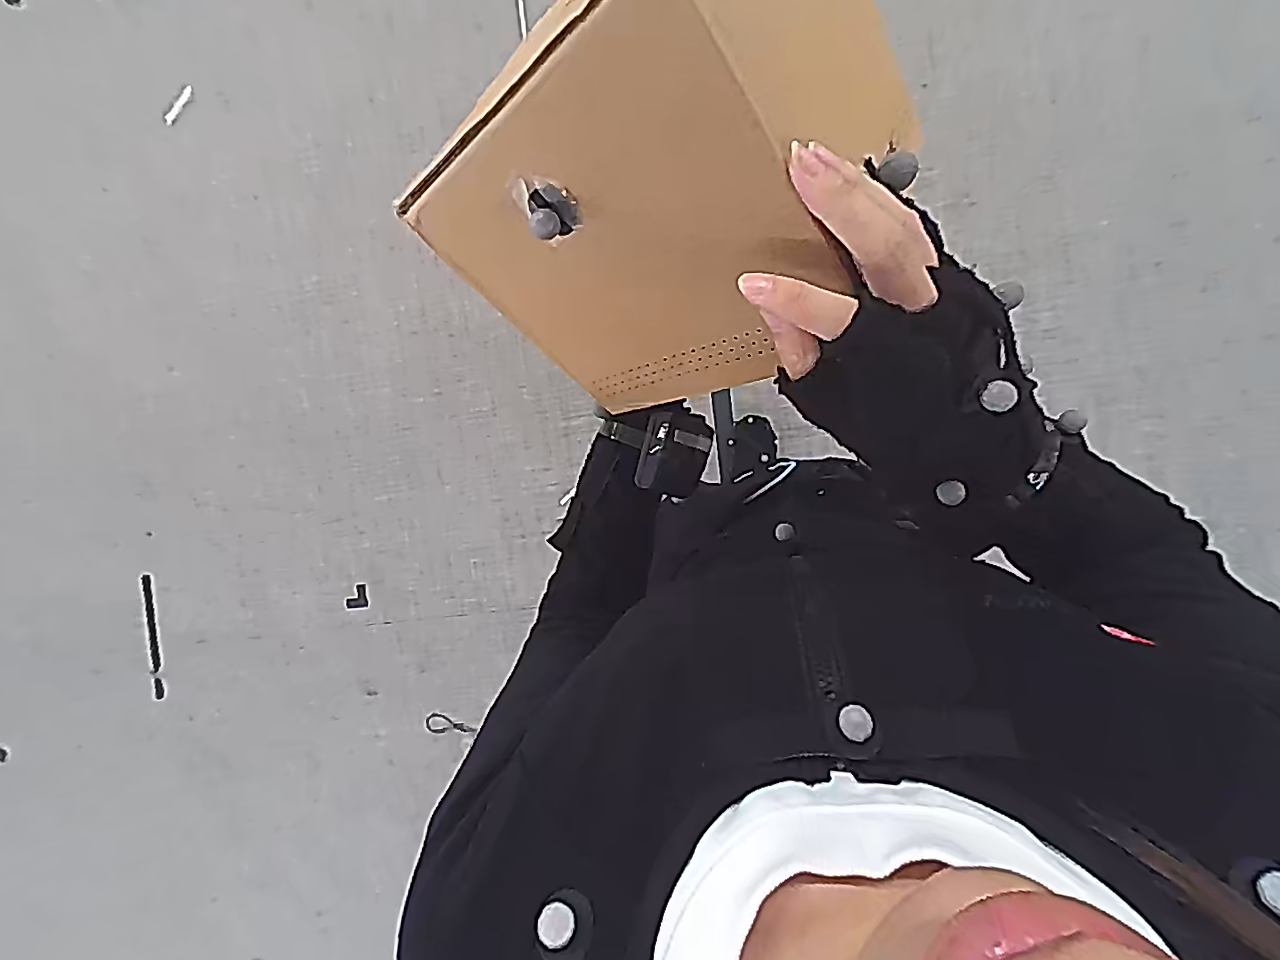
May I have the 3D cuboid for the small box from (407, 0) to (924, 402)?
[{"bbox_3d":[0.023,-0.160,0.284,0.179,0.176,0.168,-6,55,44],"label":"small box"}]
